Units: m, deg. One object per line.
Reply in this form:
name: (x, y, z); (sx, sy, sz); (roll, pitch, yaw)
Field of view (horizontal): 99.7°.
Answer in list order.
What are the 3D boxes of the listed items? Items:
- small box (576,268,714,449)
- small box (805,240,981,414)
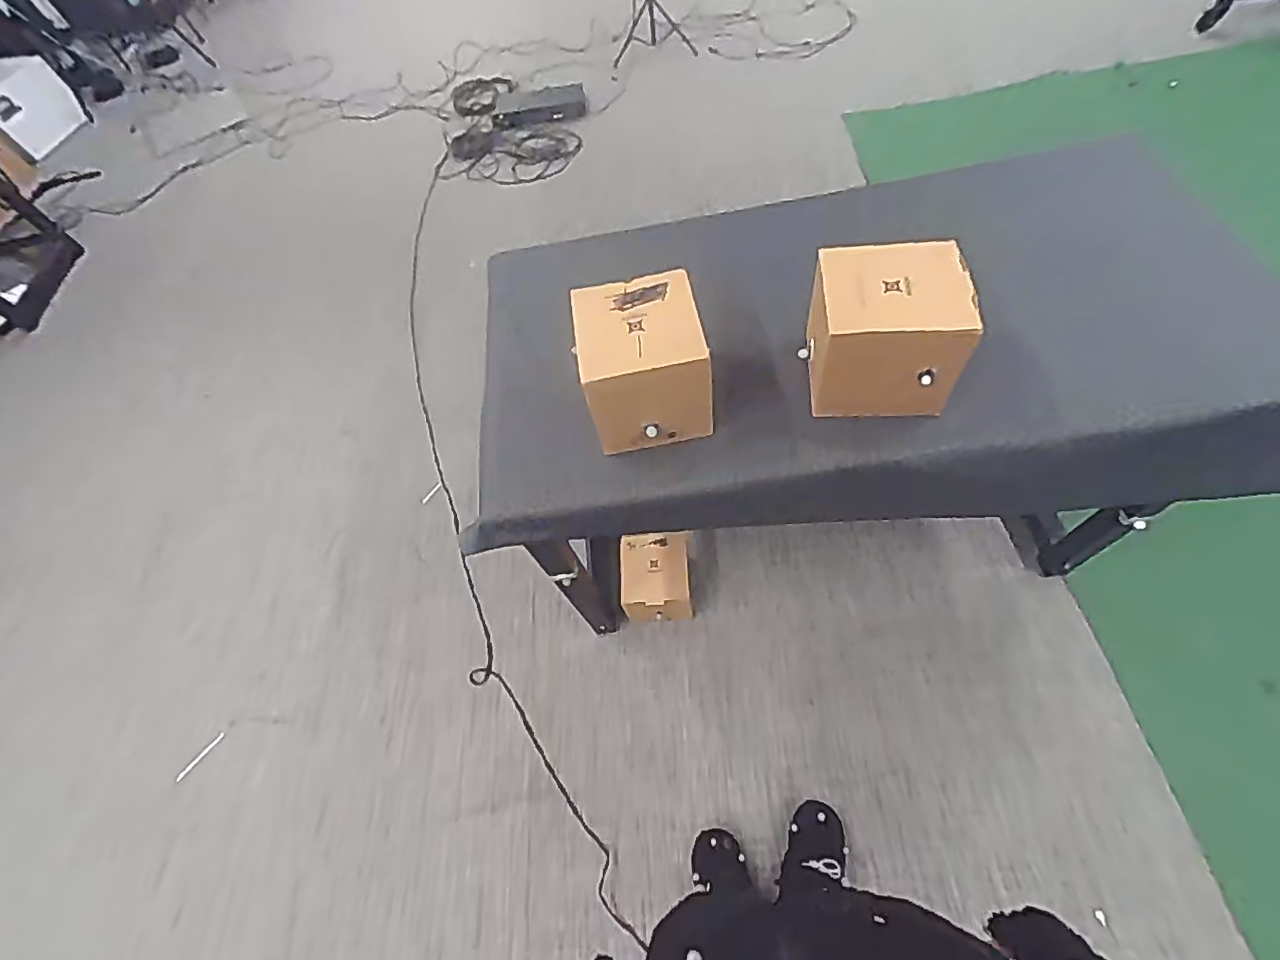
small box: (0.009, -0.171, 0.782); (0.168, 0.176, 0.179); (-11, 59, 2)
small box: (0.336, -0.206, 0.757); (0.179, 0.176, 0.168); (-1, 59, 10)
